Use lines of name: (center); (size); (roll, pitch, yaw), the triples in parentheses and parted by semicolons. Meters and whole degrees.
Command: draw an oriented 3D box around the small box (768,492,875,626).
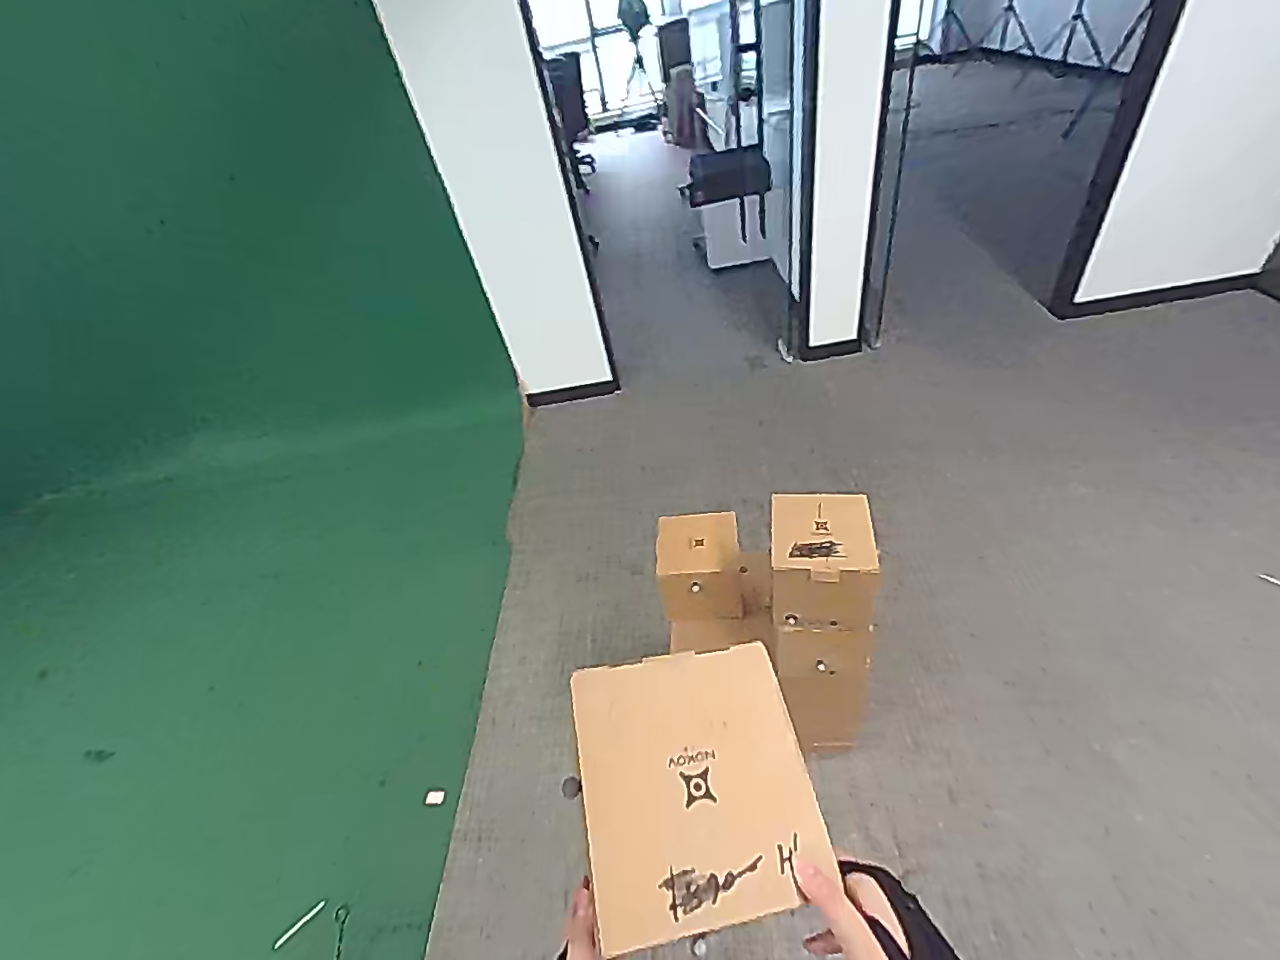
small box: (0.316, 0.142, 0.966); (0.168, 0.176, 0.179); (-1, 41, 14)

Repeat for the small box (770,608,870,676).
small box: (0.345, 0.265, 1.072); (0.168, 0.176, 0.179); (-4, 42, 12)

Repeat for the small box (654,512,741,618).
small box: (0.133, 0.192, 1.206); (0.179, 0.176, 0.168); (-5, 42, 10)

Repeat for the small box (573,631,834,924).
small box: (0.031, 0.253, 0.463); (0.168, 0.176, 0.179); (-6, 53, -9)
